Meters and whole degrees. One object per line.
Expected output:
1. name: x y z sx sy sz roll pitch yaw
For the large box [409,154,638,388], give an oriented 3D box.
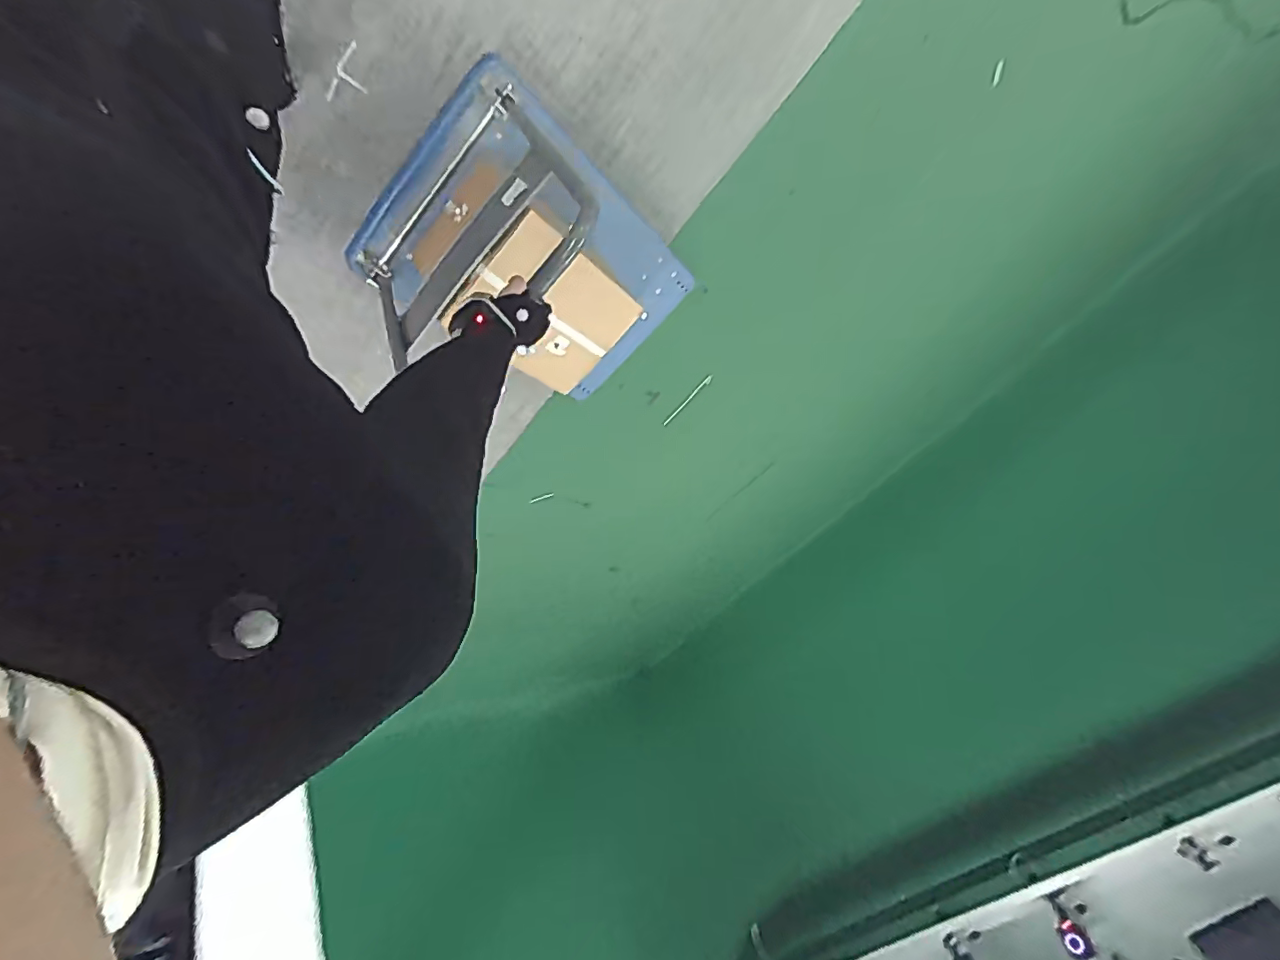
1. large box: -0.287 -0.498 1.343 0.320 0.320 0.408 -43 145 18
